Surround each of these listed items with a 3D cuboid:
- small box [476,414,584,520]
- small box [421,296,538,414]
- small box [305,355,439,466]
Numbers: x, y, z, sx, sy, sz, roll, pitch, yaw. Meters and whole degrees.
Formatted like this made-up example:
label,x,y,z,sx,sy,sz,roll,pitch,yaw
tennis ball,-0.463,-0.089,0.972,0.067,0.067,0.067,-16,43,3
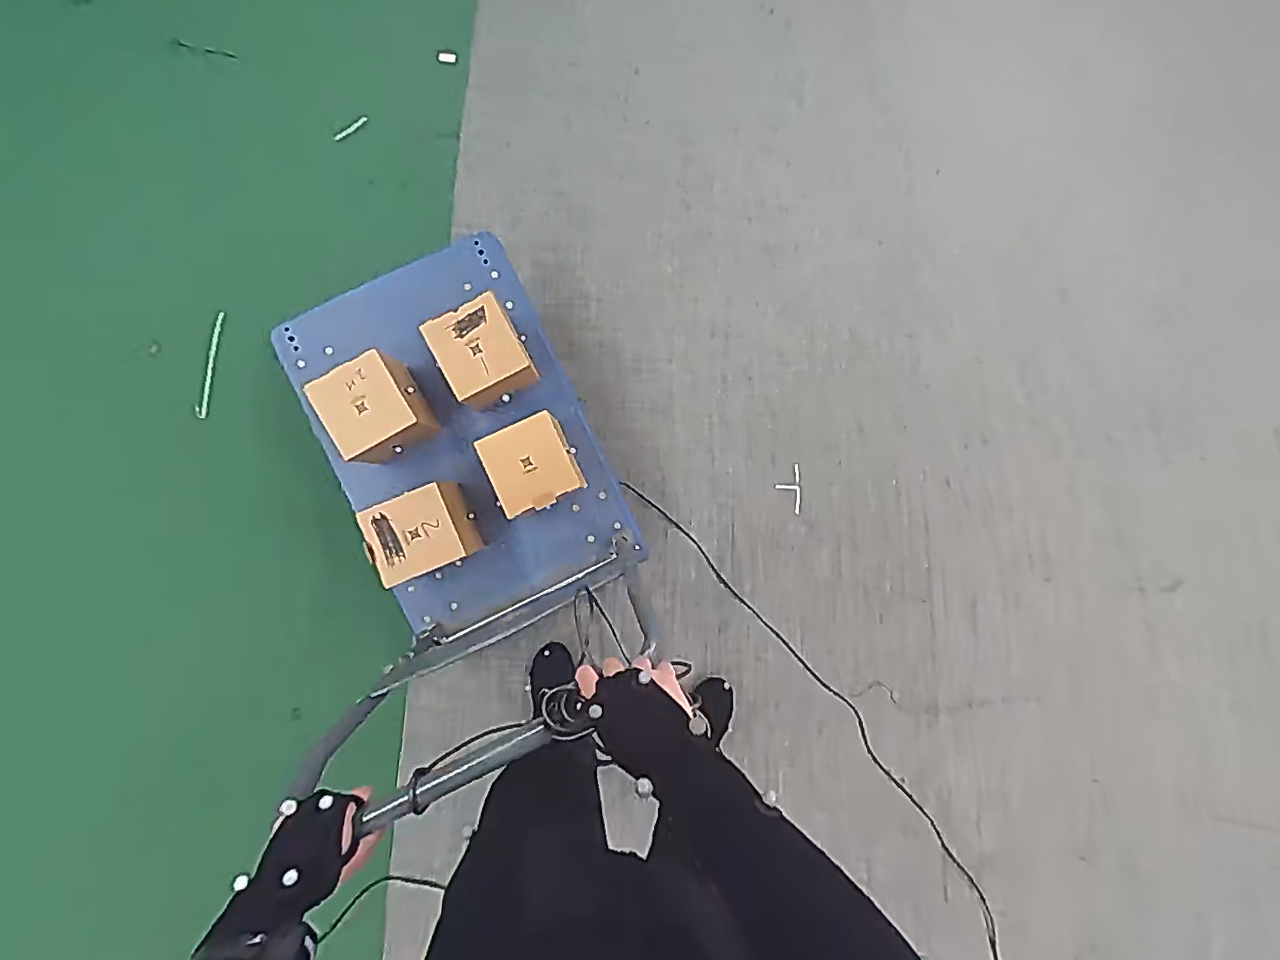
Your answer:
label,x,y,z,sx,sy,sz,roll,pitch,yaw
small box,-0.233,-0.024,1.182,0.168,0.176,0.179,-25,91,-3
small box,-0.341,-0.264,1.183,0.168,0.176,0.179,-28,90,-2
small box,-0.567,-0.141,1.171,0.168,0.176,0.179,-30,90,-4
